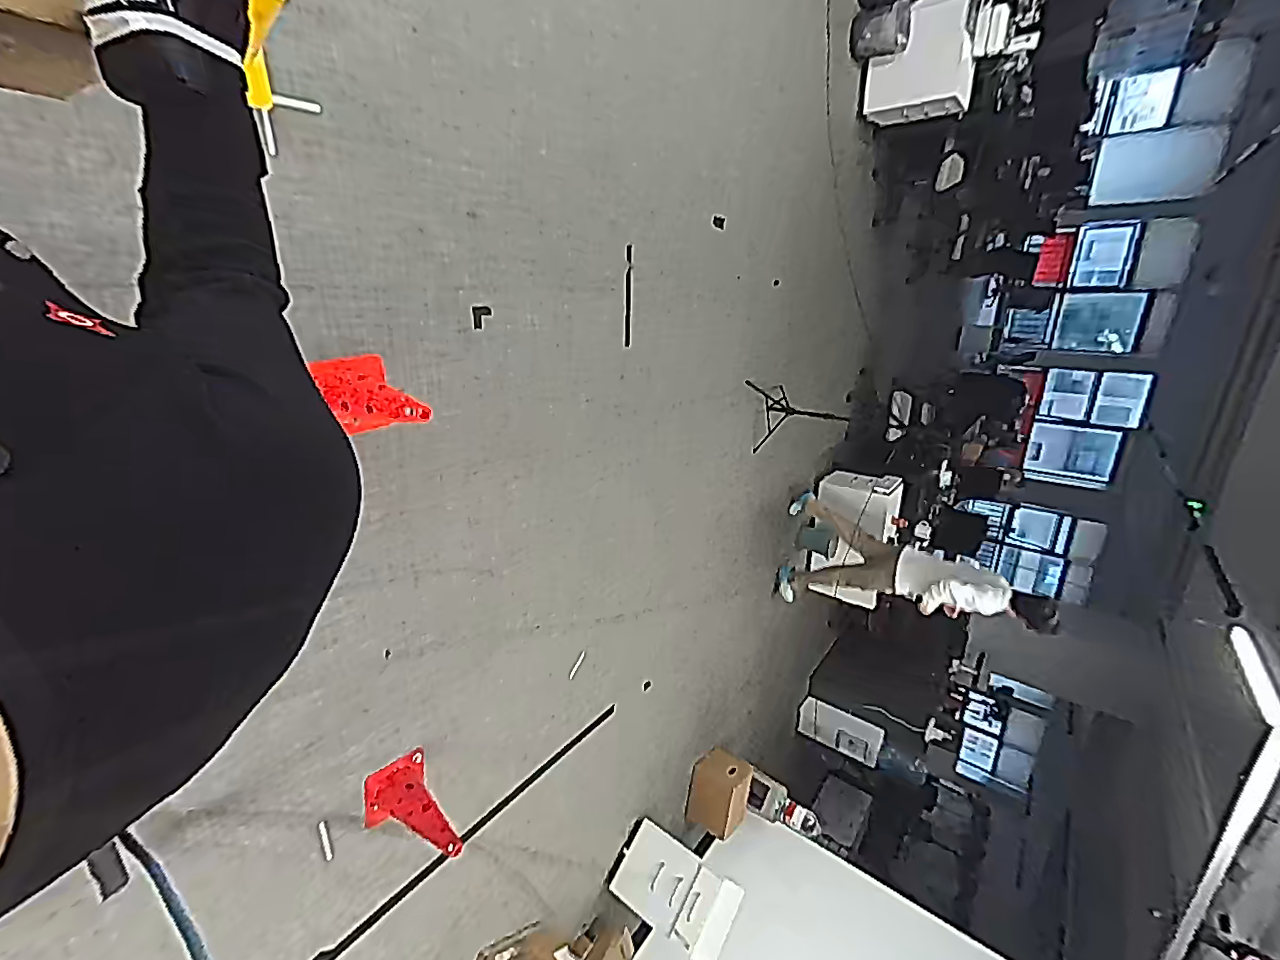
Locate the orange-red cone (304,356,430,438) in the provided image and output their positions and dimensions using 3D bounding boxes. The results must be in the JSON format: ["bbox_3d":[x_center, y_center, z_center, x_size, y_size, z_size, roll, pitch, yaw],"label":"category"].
[{"bbox_3d":[-0.635,-0.190,1.331,0.198,0.360,0.199,-26,120,-48],"label":"orange-red cone"}]

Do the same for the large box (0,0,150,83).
[{"bbox_3d":[-0.562,-0.443,0.249,0.408,0.320,0.320,-21,123,-51],"label":"large box"}]

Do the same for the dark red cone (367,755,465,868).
[{"bbox_3d":[-0.670,1.062,1.681,0.201,0.394,0.202,-13,112,-50],"label":"dark red cone"}]
